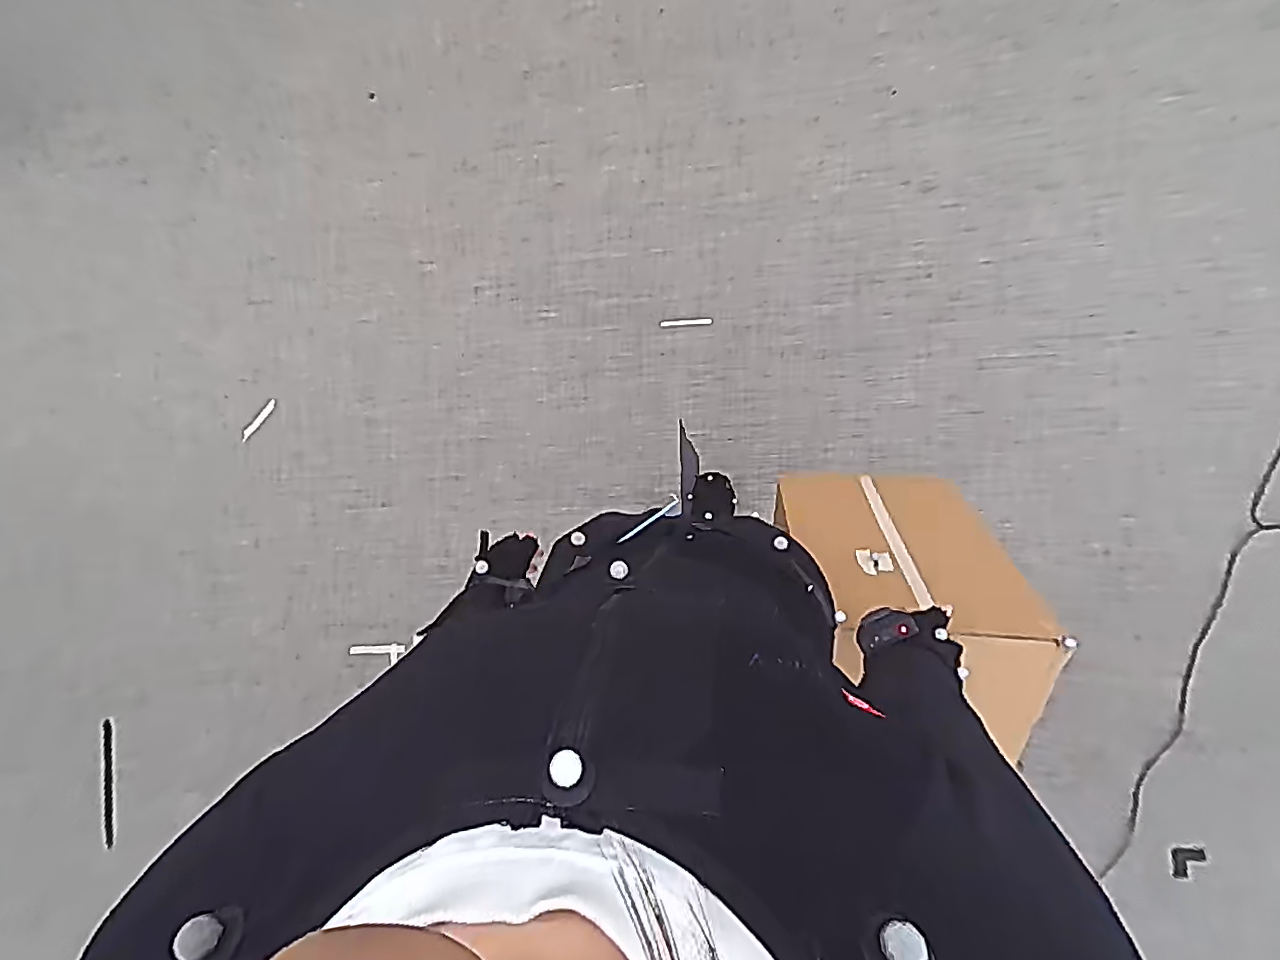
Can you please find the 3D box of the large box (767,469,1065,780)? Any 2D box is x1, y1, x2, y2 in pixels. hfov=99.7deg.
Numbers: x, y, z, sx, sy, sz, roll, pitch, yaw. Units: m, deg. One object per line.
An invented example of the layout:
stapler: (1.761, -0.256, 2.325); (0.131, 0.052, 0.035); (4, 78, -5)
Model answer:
large box: (0.396, 0.216, 0.916); (0.320, 0.408, 0.320); (1, 122, 9)
